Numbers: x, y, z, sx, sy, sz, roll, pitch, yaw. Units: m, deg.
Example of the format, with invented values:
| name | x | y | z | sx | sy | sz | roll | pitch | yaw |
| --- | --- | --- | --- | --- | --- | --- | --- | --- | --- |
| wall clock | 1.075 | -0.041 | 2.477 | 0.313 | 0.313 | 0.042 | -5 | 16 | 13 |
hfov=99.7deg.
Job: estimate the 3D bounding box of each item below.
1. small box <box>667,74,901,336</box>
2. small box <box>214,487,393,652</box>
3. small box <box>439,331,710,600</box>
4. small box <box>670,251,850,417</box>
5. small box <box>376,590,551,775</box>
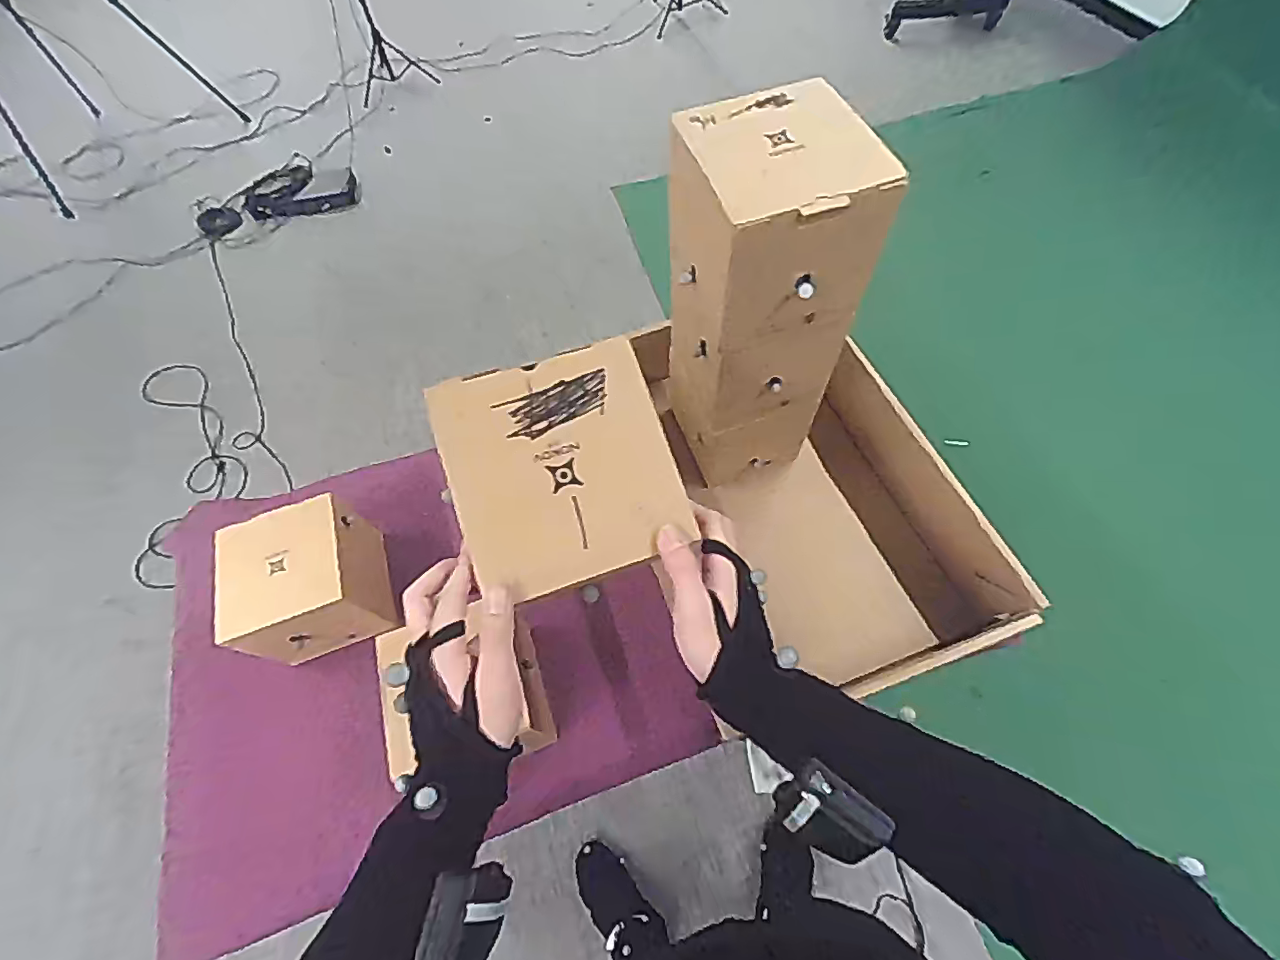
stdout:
| name | x | y | z | sx | sy | sz | roll | pitch | yaw |
| --- | --- | --- | --- | --- | --- | --- | --- | --- | --- |
| small box | 0.133 | -0.275 | 0.571 | 0.168 | 0.176 | 0.179 | -17 | 64 | -5 |
| small box | -0.495 | 0.143 | 0.814 | 0.168 | 0.176 | 0.179 | -20 | 61 | -7 |
| small box | -0.060 | 0.000 | 0.482 | 0.168 | 0.176 | 0.179 | -17 | 80 | -10 |
| small box | 0.145 | -0.203 | 0.717 | 0.168 | 0.176 | 0.179 | -17 | 63 | -5 |
| small box | -0.228 | 0.276 | 0.725 | 0.168 | 0.176 | 0.179 | -18 | 60 | -7 |
